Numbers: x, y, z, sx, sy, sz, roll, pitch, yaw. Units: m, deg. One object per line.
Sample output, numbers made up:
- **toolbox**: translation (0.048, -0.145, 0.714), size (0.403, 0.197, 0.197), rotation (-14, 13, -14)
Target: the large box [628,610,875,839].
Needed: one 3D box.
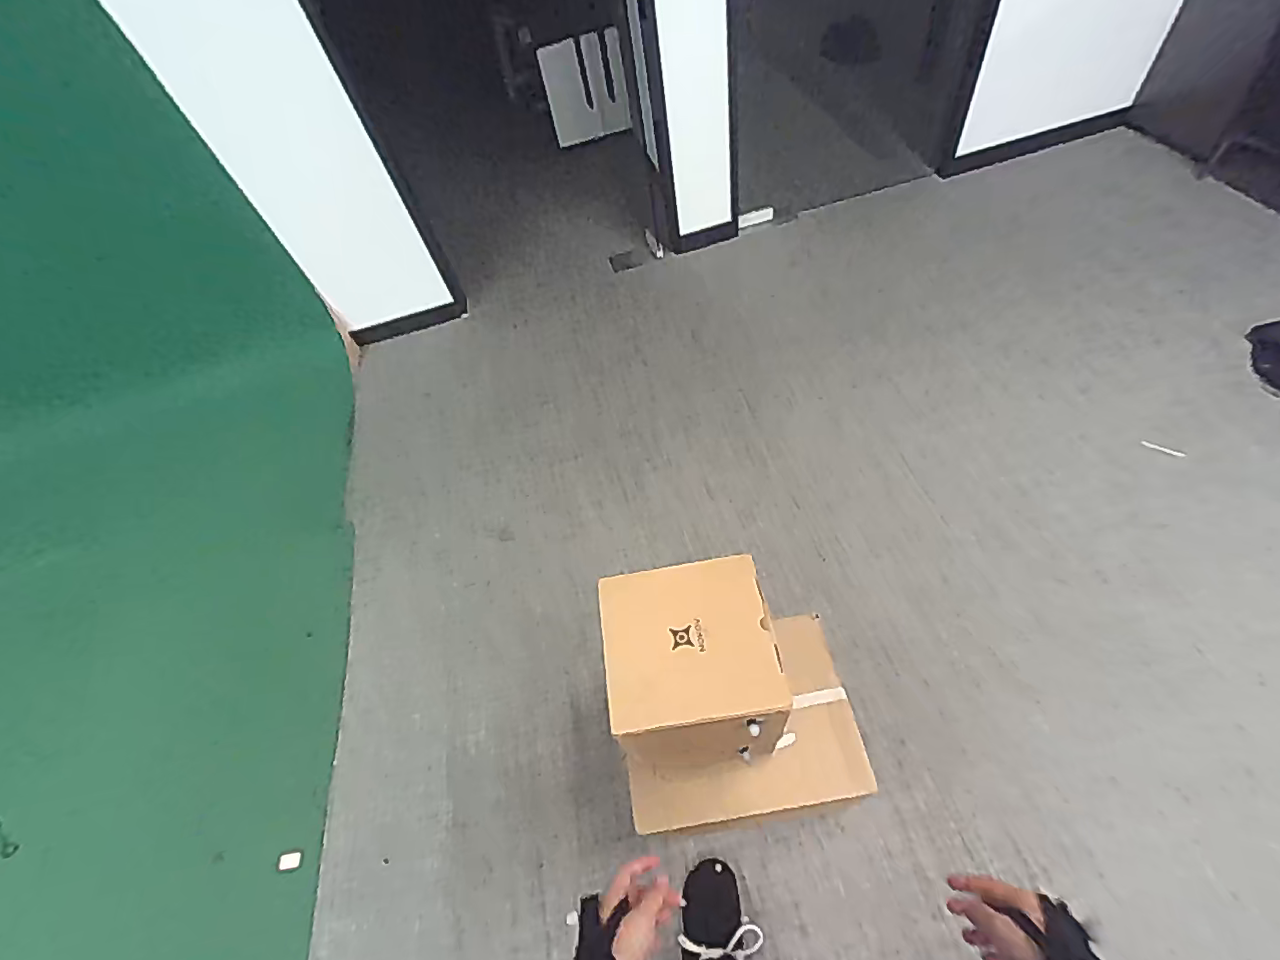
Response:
- **large box**: translation (0.187, 0.502, 1.090), size (0.408, 0.320, 0.320), rotation (-11, 55, 1)

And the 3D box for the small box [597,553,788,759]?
- **small box**: translation (0.056, 0.206, 0.617), size (0.179, 0.176, 0.168), rotation (-10, 54, 1)

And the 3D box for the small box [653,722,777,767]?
- **small box**: translation (0.084, 0.289, 0.756), size (0.168, 0.176, 0.179), rotation (-11, 53, 0)
